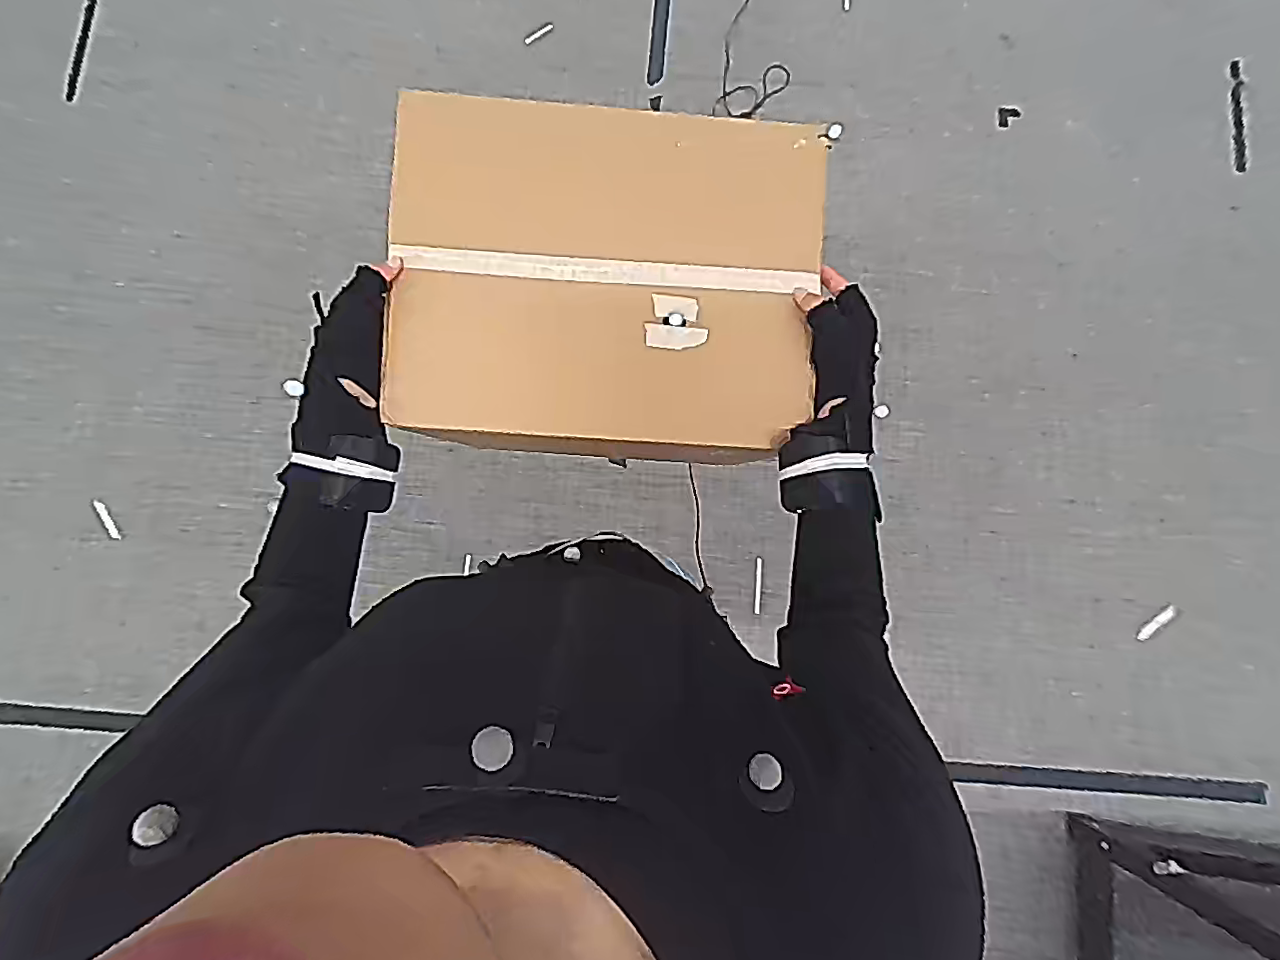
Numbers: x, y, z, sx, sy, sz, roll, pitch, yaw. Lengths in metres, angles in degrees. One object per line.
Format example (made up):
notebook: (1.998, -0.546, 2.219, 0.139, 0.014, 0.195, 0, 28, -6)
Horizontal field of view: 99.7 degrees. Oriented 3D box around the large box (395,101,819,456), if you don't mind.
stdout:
large box: (-0.037, -0.199, 0.671, 0.408, 0.320, 0.320, 4, 90, -3)
